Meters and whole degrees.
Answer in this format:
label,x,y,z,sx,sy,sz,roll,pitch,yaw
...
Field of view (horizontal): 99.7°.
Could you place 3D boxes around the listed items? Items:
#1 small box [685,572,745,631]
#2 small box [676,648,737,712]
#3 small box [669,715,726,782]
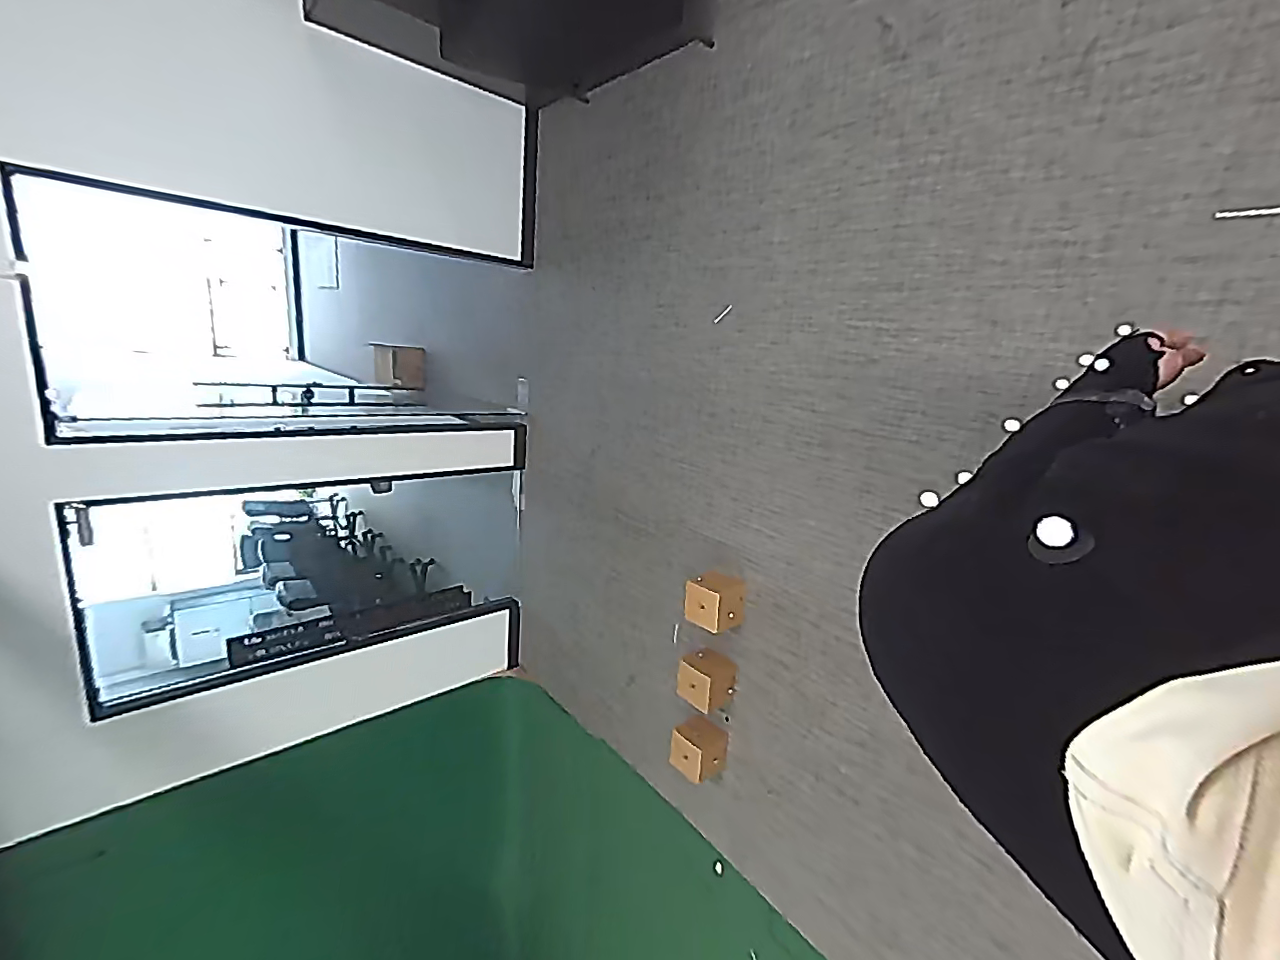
label,x,y,z,sx,sy,sz,roll,pitch,yaw
small box,0.302,0.481,2.171,0.179,0.176,0.168,15,106,48
small box,0.274,0.821,2.247,0.179,0.176,0.168,19,109,46
small box,0.248,1.141,2.317,0.179,0.176,0.168,19,108,47
